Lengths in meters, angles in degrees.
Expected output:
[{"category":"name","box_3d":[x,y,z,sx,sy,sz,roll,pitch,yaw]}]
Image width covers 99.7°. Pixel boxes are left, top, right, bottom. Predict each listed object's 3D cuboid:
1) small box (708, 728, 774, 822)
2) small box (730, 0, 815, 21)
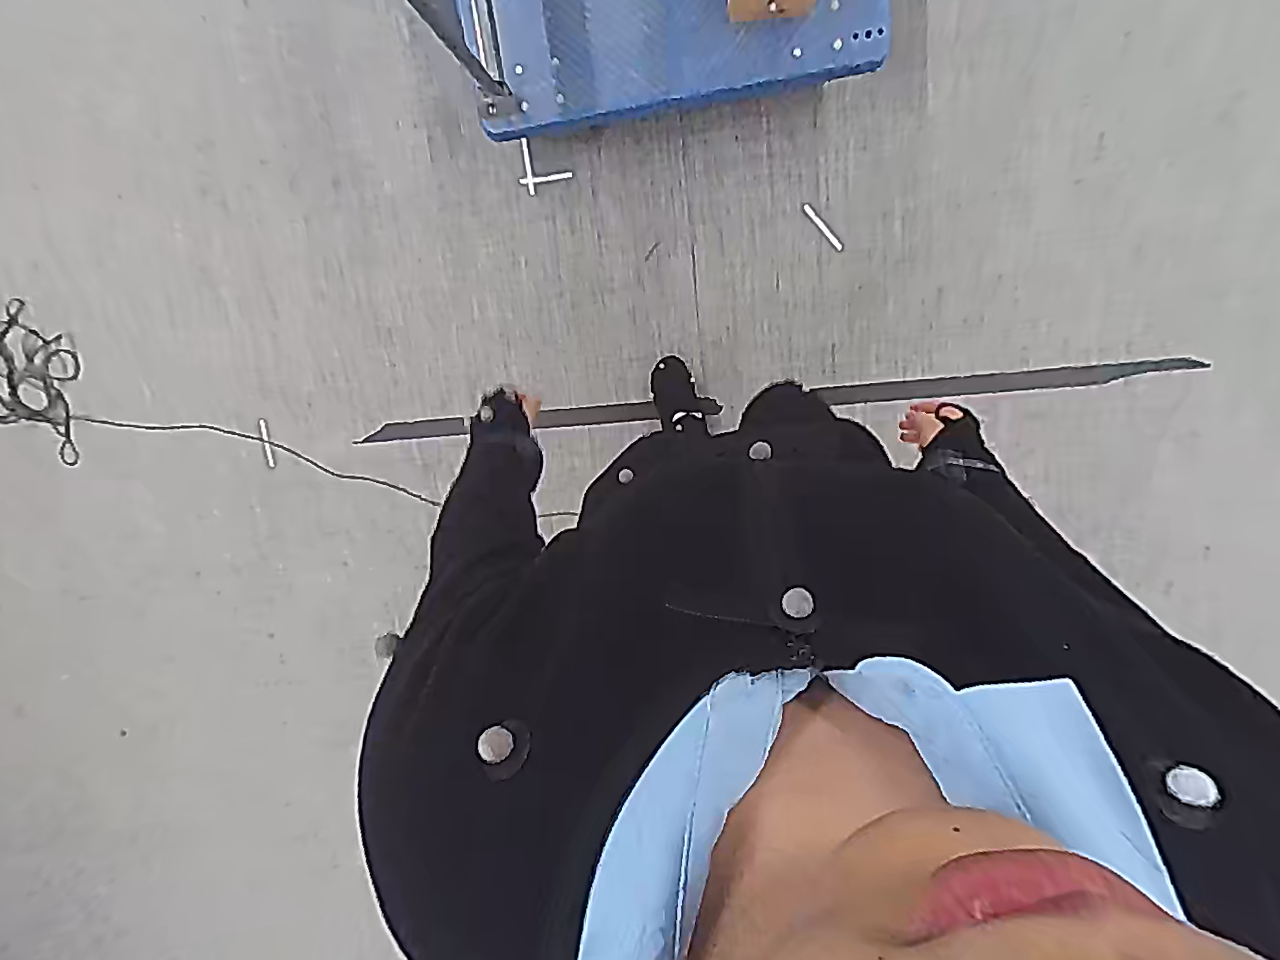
[{"category":"small box","box_3d":[0.290,0.853,1.573,0.168,0.176,0.179,-7,101,6]},{"category":"small box","box_3d":[0.252,-1.000,0.991,0.168,0.176,0.179,-2,102,6]}]
